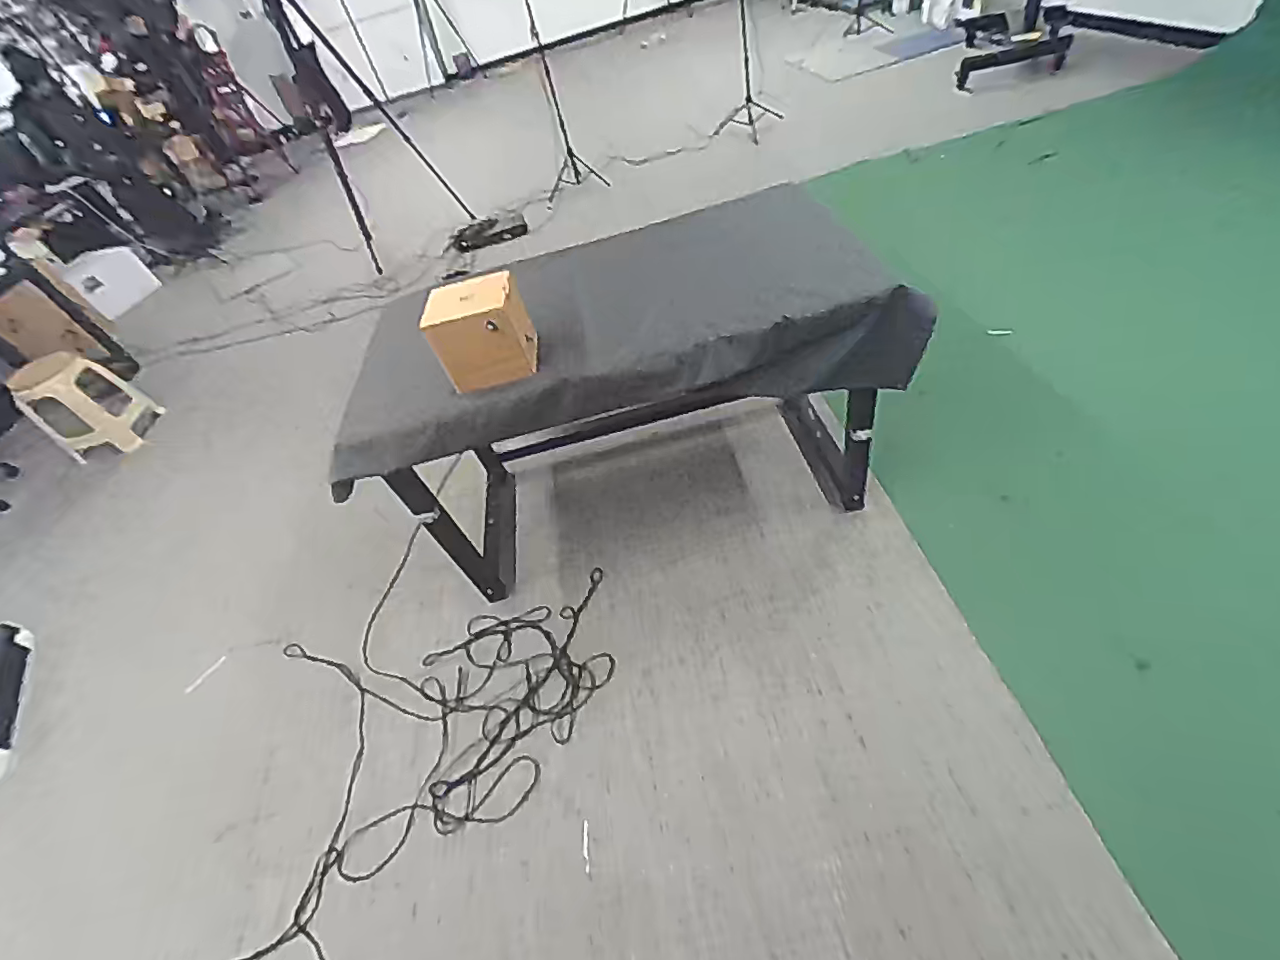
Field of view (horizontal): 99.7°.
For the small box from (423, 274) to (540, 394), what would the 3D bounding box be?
[{"bbox_3d":[-0.329,-0.307,1.154,0.179,0.176,0.168,-13,45,4],"label":"small box"}]
